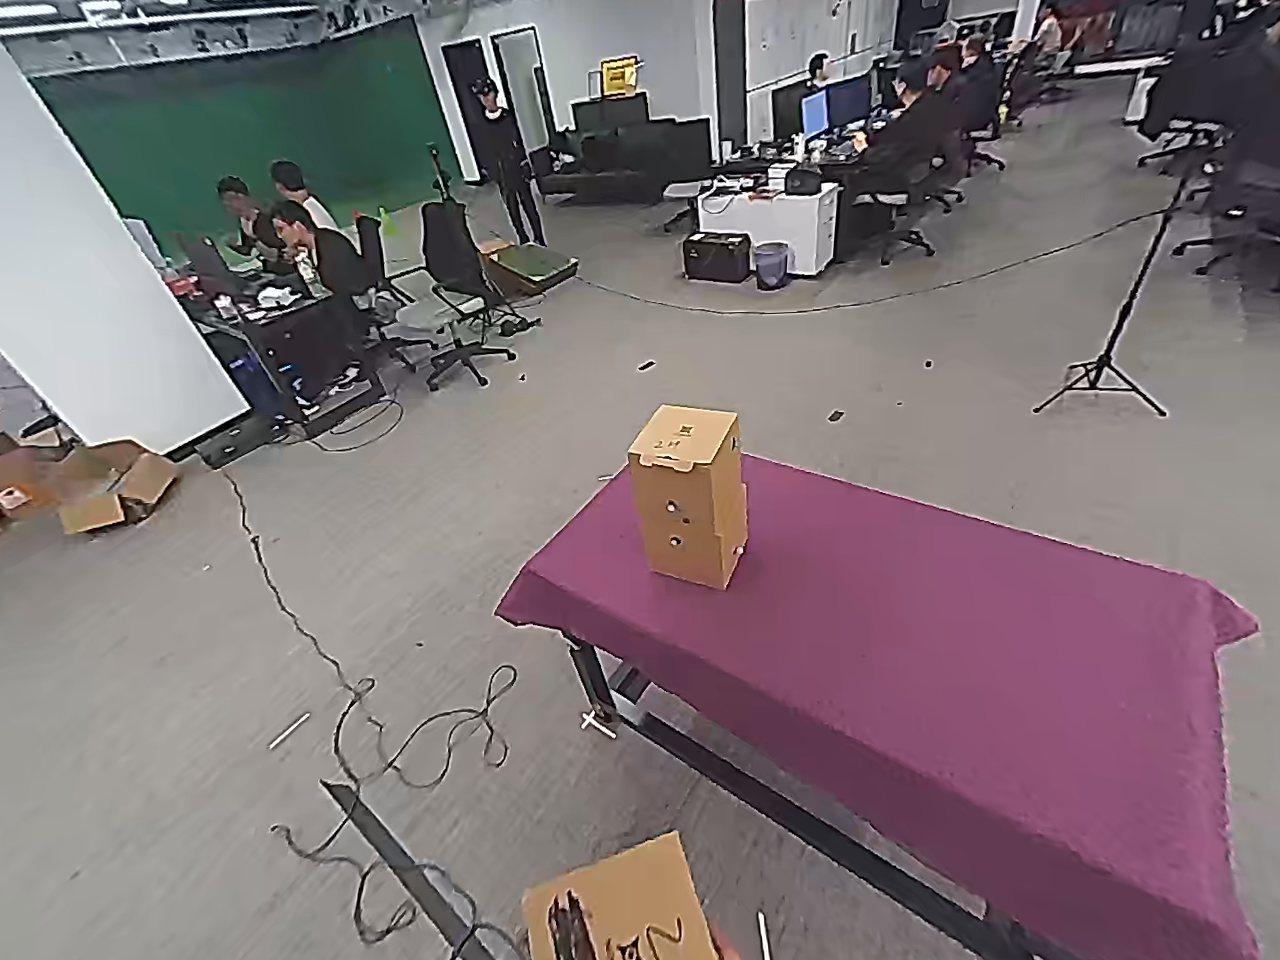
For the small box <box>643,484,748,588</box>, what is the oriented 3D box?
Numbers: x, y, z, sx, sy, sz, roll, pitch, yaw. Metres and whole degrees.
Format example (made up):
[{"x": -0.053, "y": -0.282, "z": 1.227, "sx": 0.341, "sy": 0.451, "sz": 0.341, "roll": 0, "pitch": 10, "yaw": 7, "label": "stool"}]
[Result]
[{"x": 0.126, "y": 0.109, "z": 1.175, "sx": 0.179, "sy": 0.176, "sz": 0.168, "roll": 12, "pitch": 44, "yaw": 24, "label": "small box"}]

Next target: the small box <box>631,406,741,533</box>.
[{"x": 0.099, "y": -0.024, "z": 1.079, "sx": 0.168, "sy": 0.176, "sz": 0.179, "roll": 10, "pitch": 43, "yaw": 24, "label": "small box"}]
